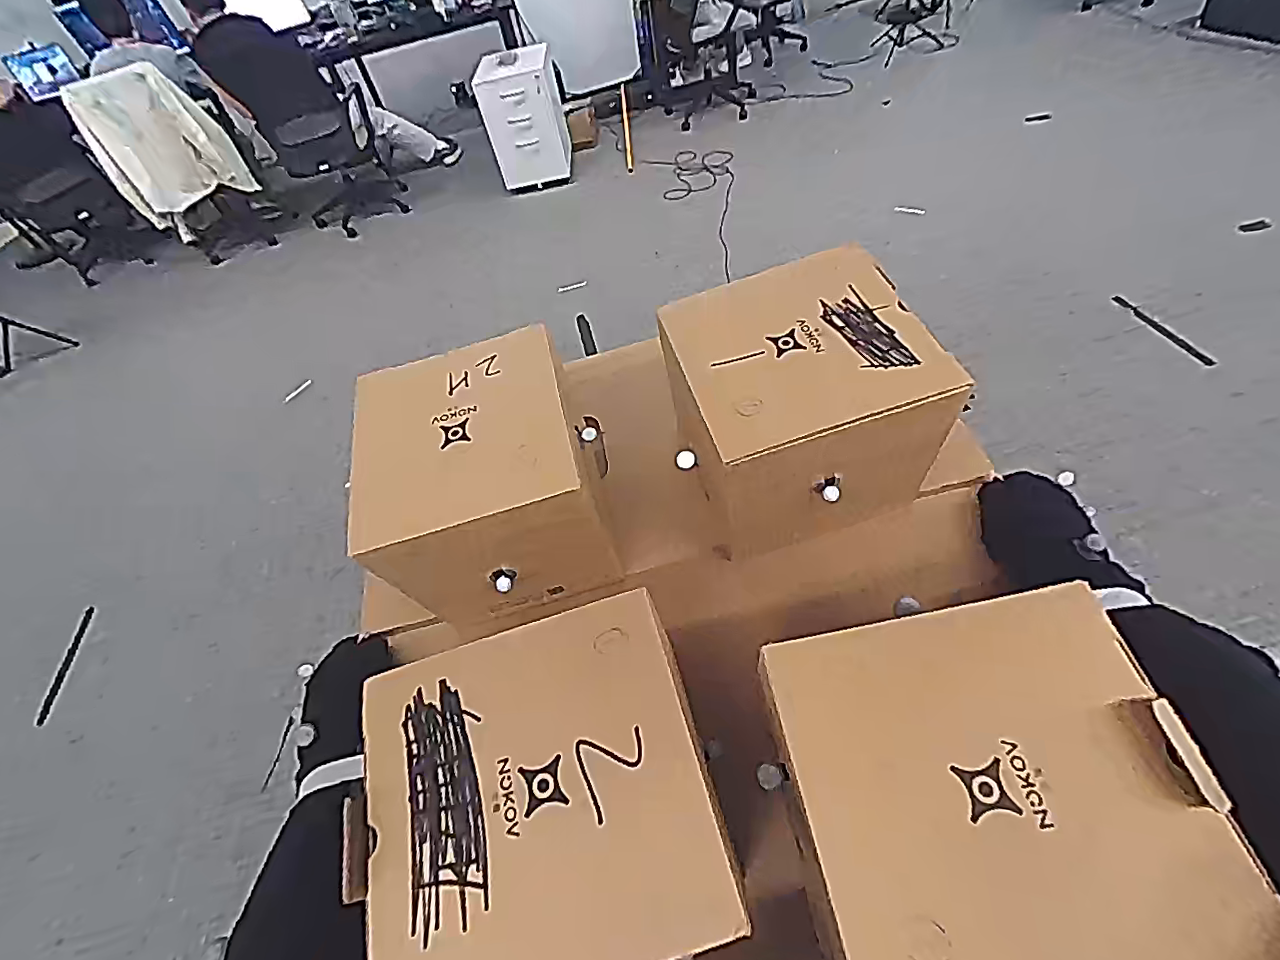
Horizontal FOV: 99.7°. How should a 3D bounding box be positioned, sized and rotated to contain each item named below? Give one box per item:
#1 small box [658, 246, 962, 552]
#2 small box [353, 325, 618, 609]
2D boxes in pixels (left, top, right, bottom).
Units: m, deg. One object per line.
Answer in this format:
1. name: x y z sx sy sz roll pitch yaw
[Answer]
1. small box: 0.128 -0.060 0.468 0.179 0.176 0.168 -18 57 2
2. small box: -0.125 0.001 0.482 0.168 0.176 0.179 -16 57 1
